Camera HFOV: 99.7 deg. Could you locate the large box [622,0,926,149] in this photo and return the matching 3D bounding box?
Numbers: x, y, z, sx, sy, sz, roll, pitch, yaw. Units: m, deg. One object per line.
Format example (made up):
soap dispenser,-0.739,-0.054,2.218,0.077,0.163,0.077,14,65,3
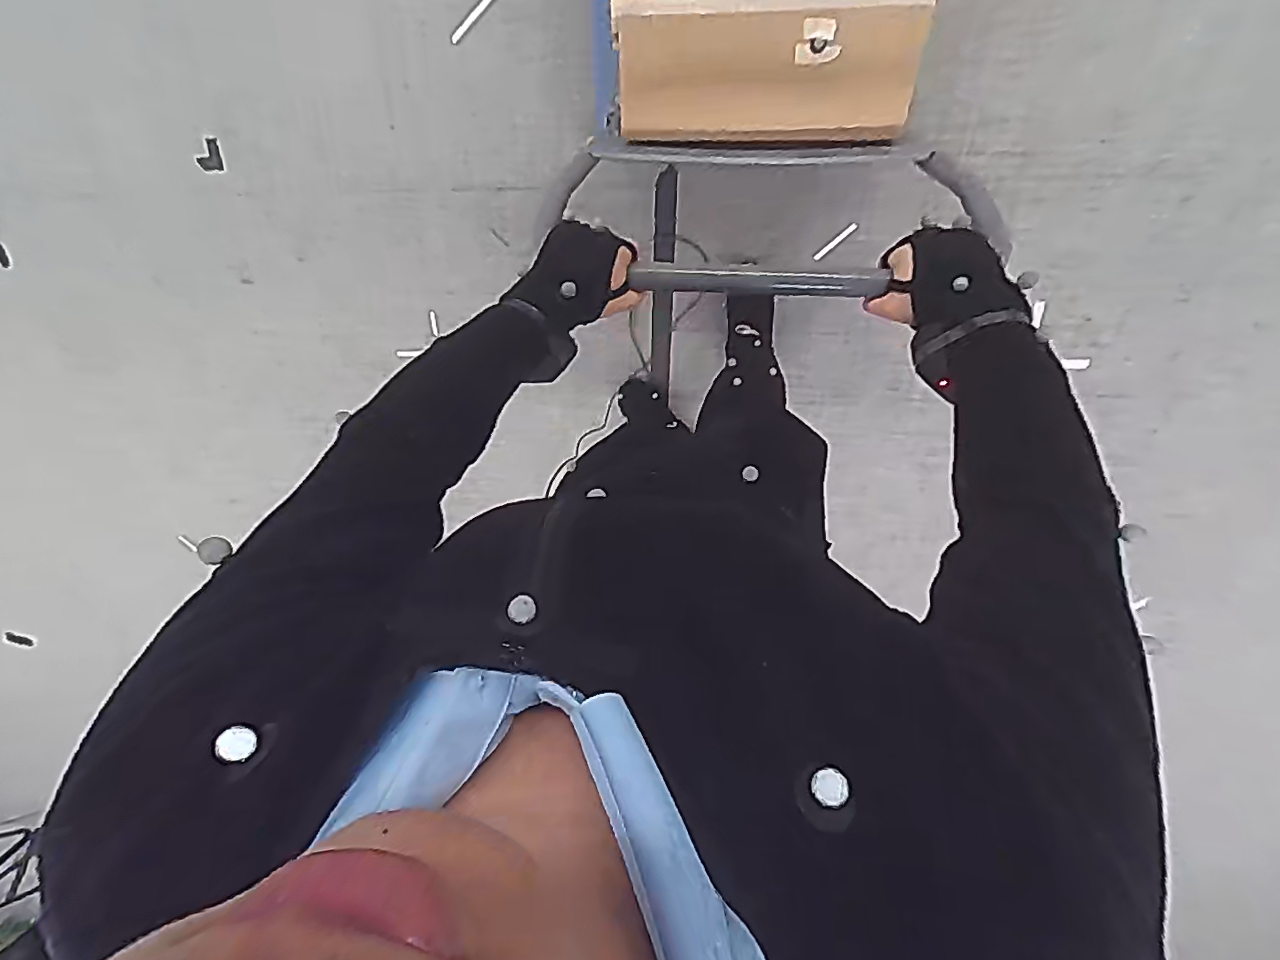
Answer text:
large box,0.187,-0.713,0.836,0.408,0.320,0.320,3,127,6
